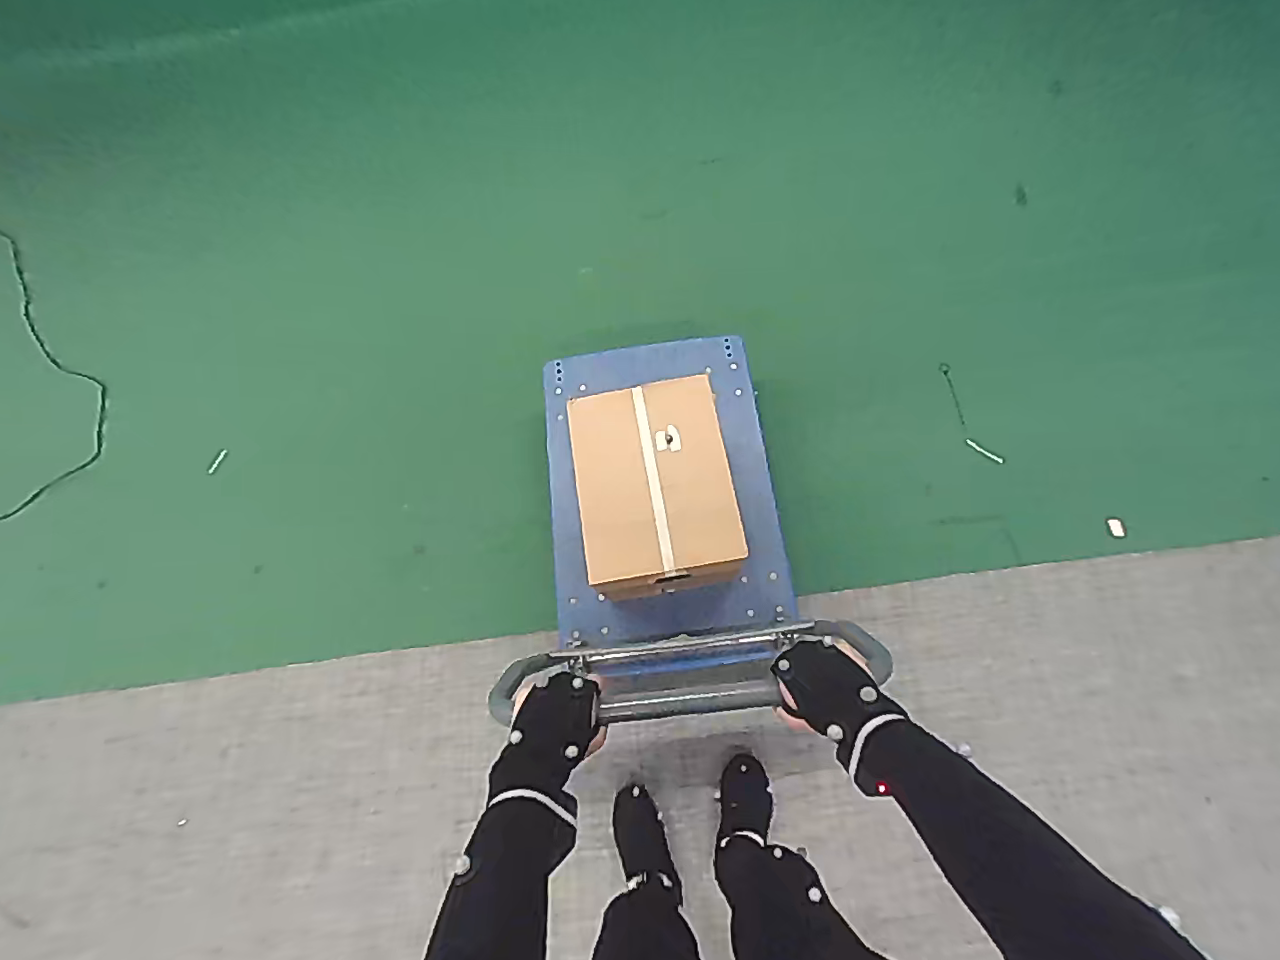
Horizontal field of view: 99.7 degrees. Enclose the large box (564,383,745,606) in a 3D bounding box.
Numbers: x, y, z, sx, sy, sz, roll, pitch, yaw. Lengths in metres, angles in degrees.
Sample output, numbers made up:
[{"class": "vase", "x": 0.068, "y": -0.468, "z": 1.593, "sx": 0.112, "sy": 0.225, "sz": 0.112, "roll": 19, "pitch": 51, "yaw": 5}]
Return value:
[{"class": "large box", "x": 0.035, "y": 0.051, "z": 1.243, "sx": 0.320, "sy": 0.320, "sz": 0.408, "roll": -11, "pitch": 71, "yaw": 1}]
